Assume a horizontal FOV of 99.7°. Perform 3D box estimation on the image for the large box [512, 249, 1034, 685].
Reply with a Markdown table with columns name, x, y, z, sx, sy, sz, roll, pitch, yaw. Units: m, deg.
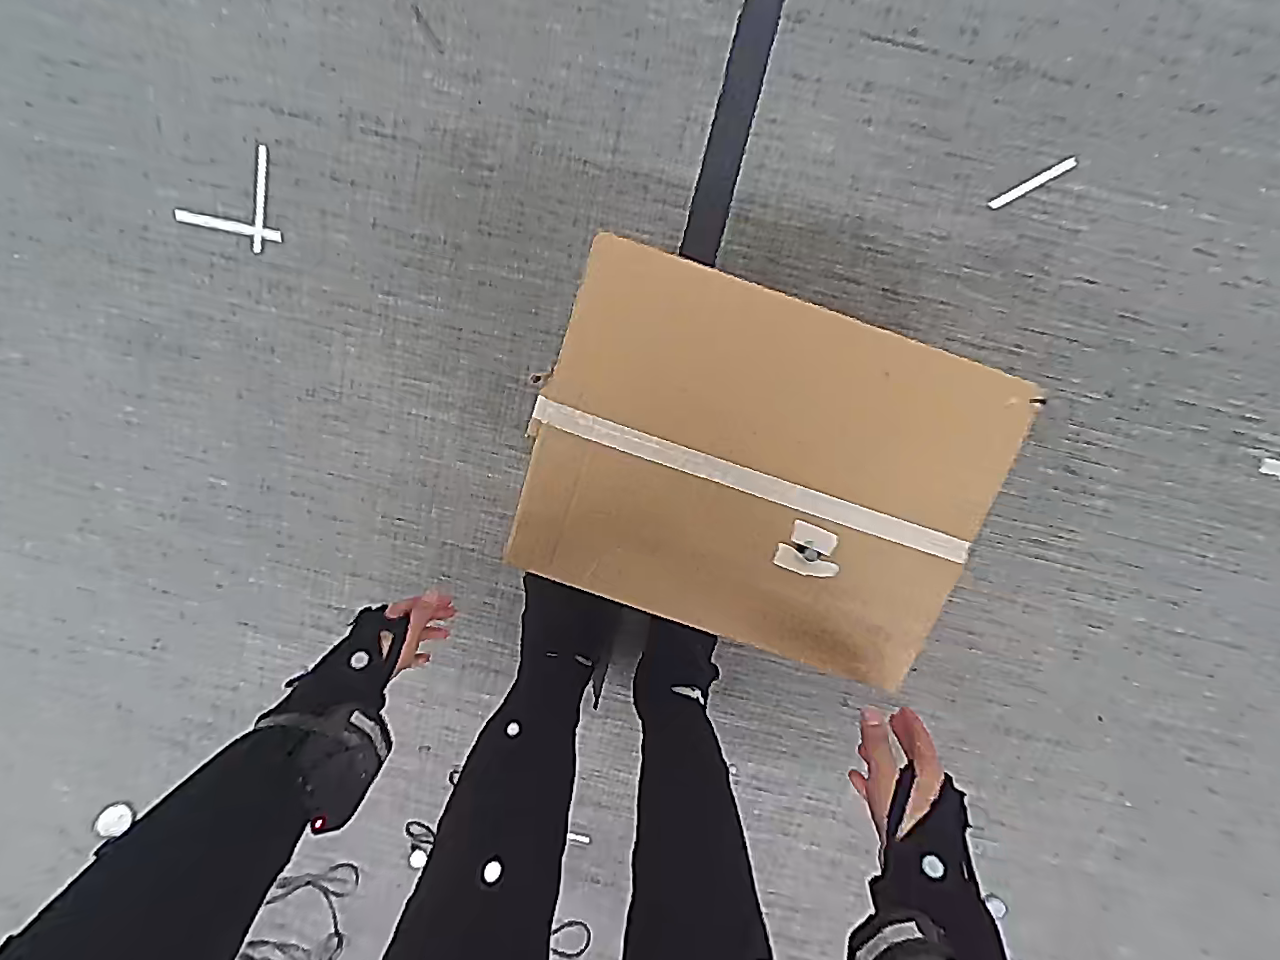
| name | x | y | z | sx | sy | sz | roll | pitch | yaw |
| --- | --- | --- | --- | --- | --- | --- | --- | --- | --- |
| large box | 0.112 | -0.028 | 0.638 | 0.408 | 0.320 | 0.320 | 19 | 104 | -2 |
